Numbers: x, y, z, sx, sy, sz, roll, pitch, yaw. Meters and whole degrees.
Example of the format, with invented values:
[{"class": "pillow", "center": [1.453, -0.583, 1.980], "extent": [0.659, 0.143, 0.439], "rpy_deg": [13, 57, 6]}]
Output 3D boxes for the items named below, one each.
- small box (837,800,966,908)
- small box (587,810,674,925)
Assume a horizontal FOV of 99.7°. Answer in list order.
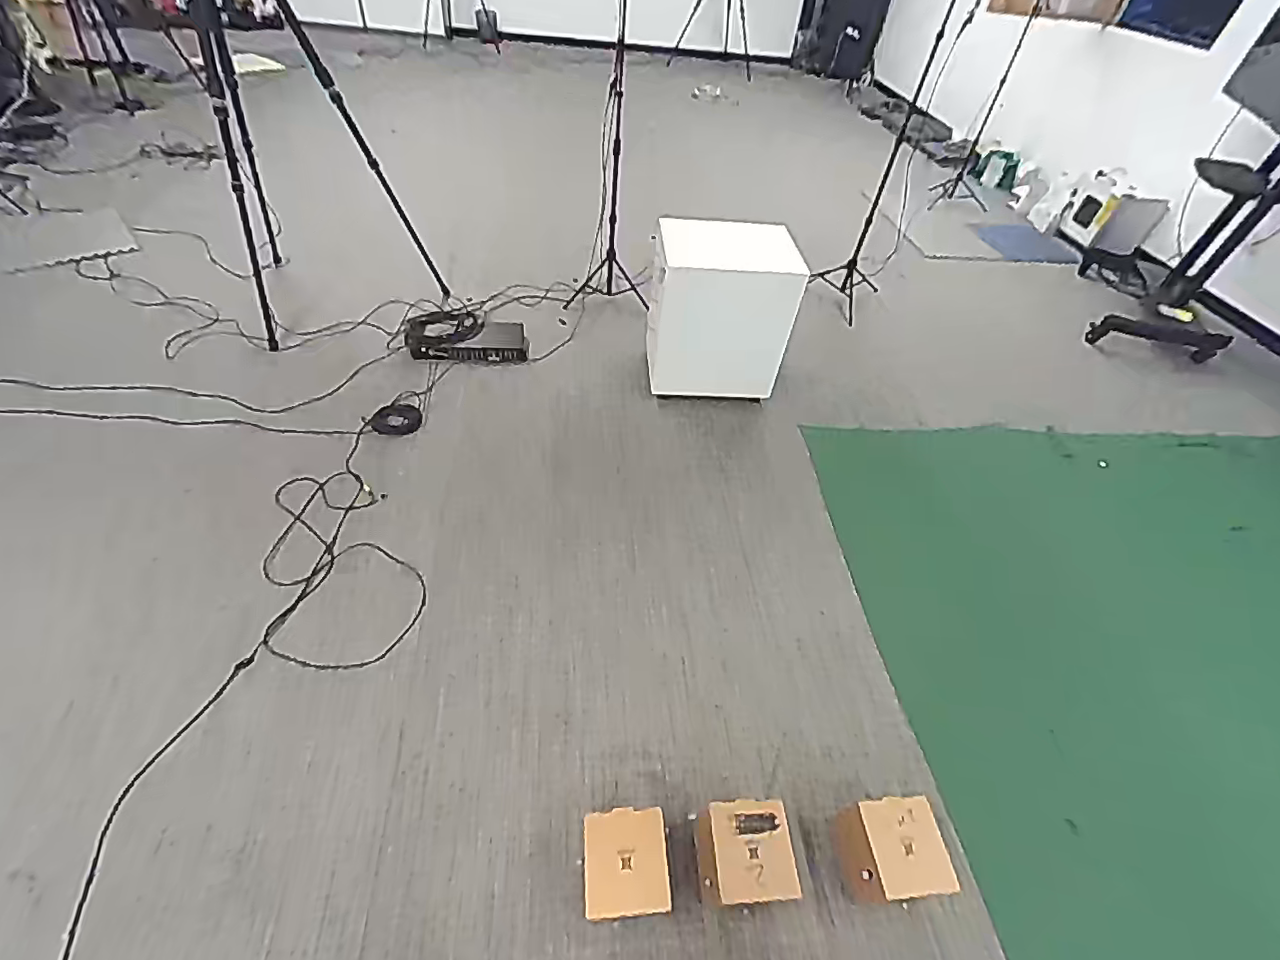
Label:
[{"class": "small box", "center": [0.560, 0.821, 1.184], "extent": [0.168, 0.176, 0.179], "rpy_deg": [0, 48, -8]}, {"class": "small box", "center": [-0.027, 0.808, 1.125], "extent": [0.168, 0.176, 0.179], "rpy_deg": [-1, 48, -7]}]
